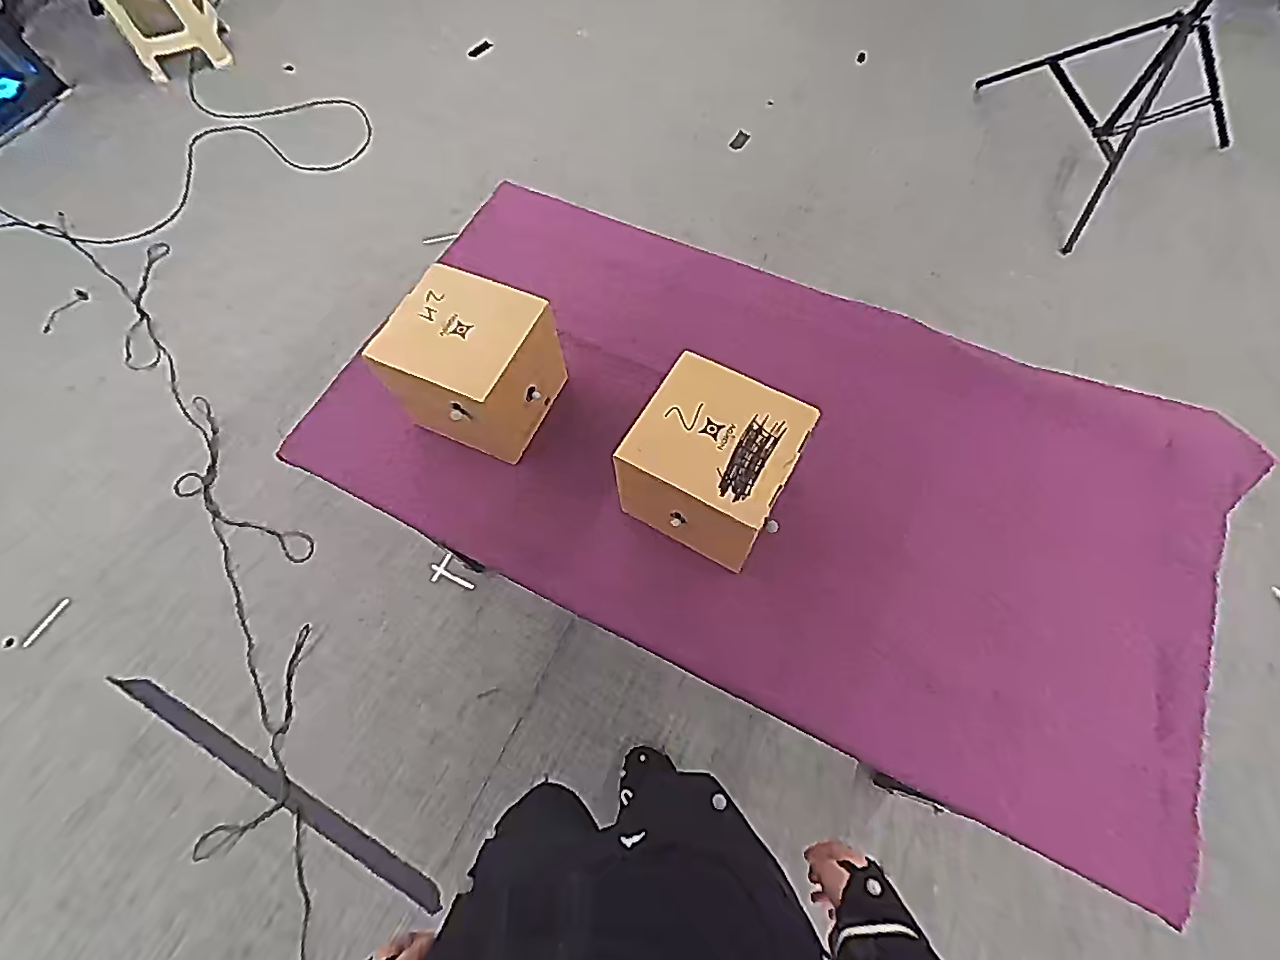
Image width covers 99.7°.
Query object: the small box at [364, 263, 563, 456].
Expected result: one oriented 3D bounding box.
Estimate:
[{"bbox_3d":[-0.221,-0.154,0.737,0.179,0.176,0.168,22,67,11],"label":"small box"}]
